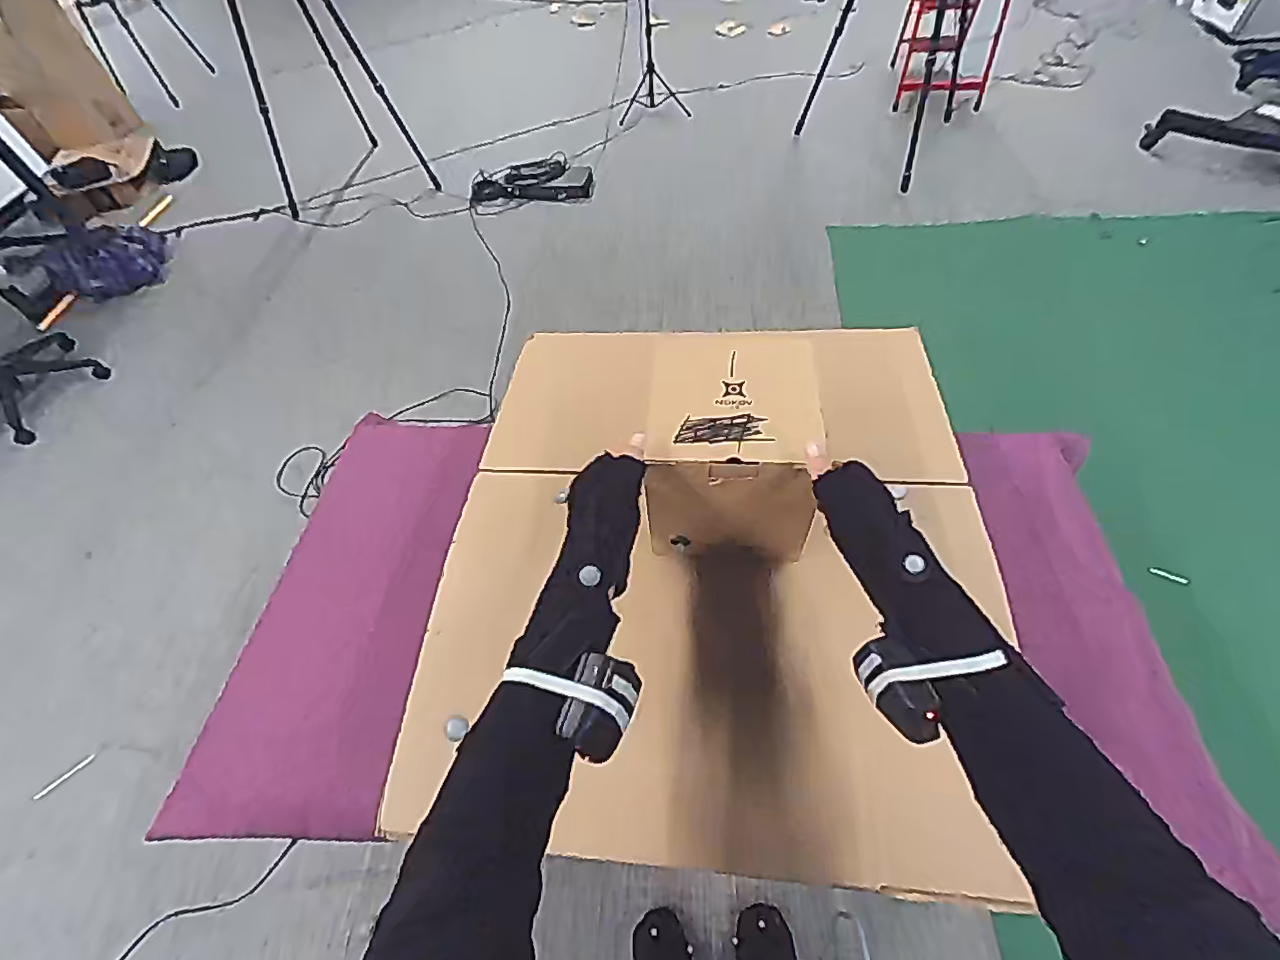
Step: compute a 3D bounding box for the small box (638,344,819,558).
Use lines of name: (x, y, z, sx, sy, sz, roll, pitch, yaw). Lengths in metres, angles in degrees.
small box: (0.094, -0.029, 0.597, 0.168, 0.176, 0.179, 2, 52, 7)
